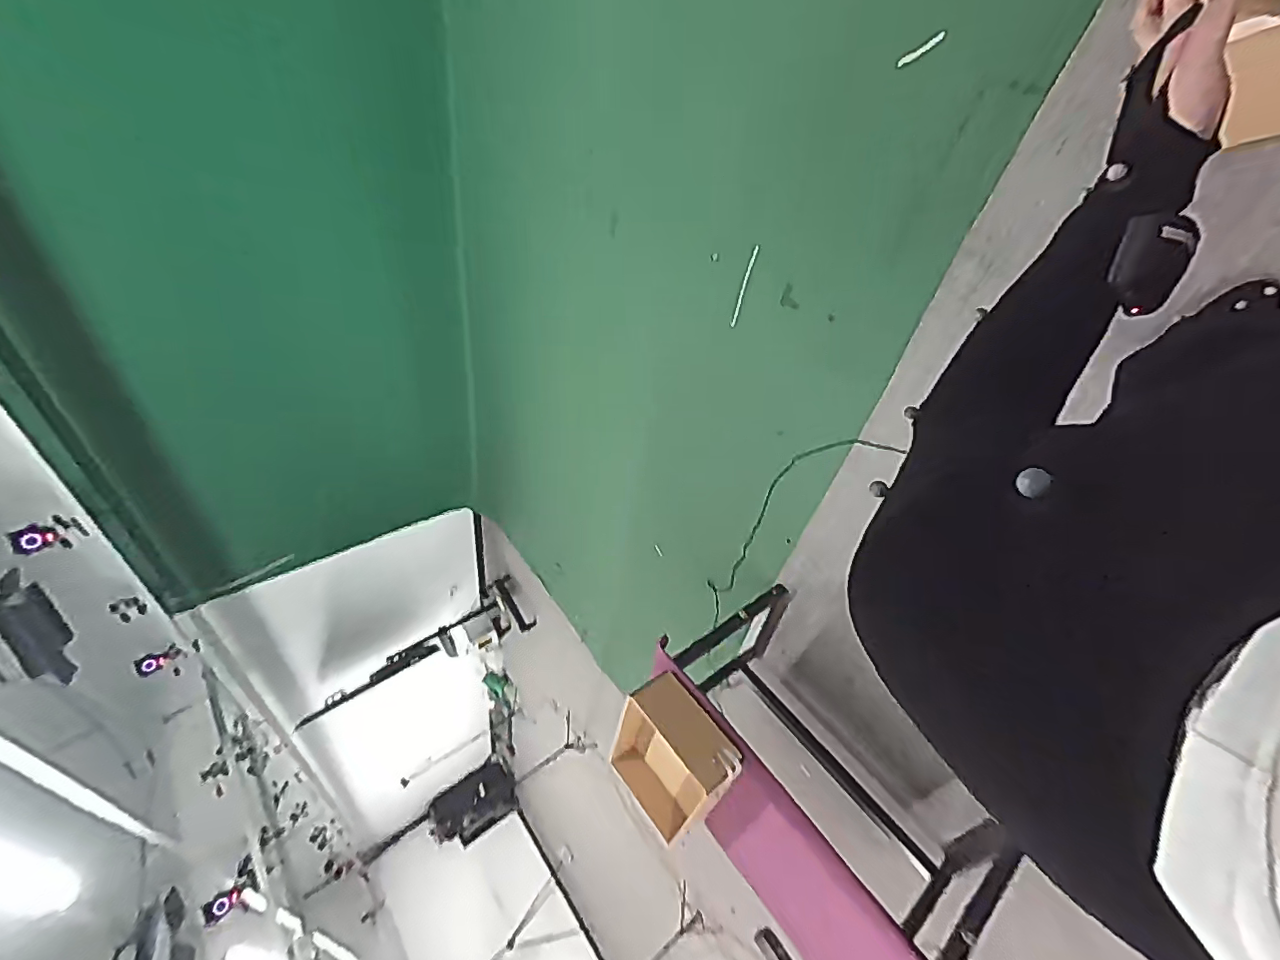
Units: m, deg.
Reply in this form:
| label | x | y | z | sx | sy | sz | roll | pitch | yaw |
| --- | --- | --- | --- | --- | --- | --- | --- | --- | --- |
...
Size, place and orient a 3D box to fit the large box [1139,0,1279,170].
| label | x | y | z | sx | sy | sz | roll | pitch | yaw |
| --- | --- | --- | --- | --- | --- | --- | --- | --- | --- |
| large box | 1.068 | -0.705 | 0.812 | 0.408 | 0.320 | 0.320 | 13 | 119 | 52 |
